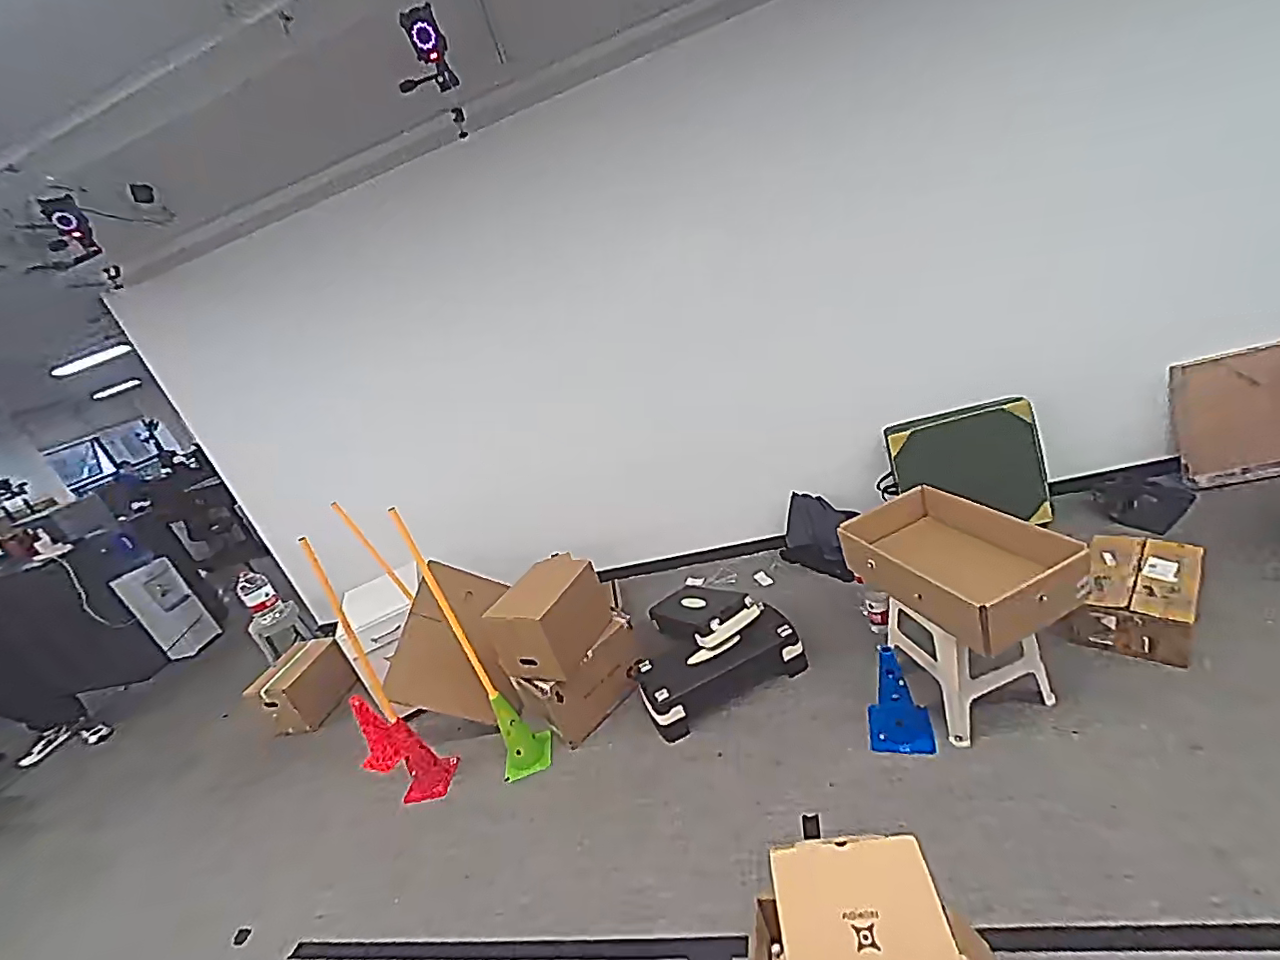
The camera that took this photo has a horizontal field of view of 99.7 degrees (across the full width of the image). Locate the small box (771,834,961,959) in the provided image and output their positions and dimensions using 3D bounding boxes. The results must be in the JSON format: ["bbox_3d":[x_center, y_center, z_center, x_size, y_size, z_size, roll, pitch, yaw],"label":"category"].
[{"bbox_3d":[0.242,0.524,0.585,0.168,0.176,0.179,-9,28,8],"label":"small box"}]
